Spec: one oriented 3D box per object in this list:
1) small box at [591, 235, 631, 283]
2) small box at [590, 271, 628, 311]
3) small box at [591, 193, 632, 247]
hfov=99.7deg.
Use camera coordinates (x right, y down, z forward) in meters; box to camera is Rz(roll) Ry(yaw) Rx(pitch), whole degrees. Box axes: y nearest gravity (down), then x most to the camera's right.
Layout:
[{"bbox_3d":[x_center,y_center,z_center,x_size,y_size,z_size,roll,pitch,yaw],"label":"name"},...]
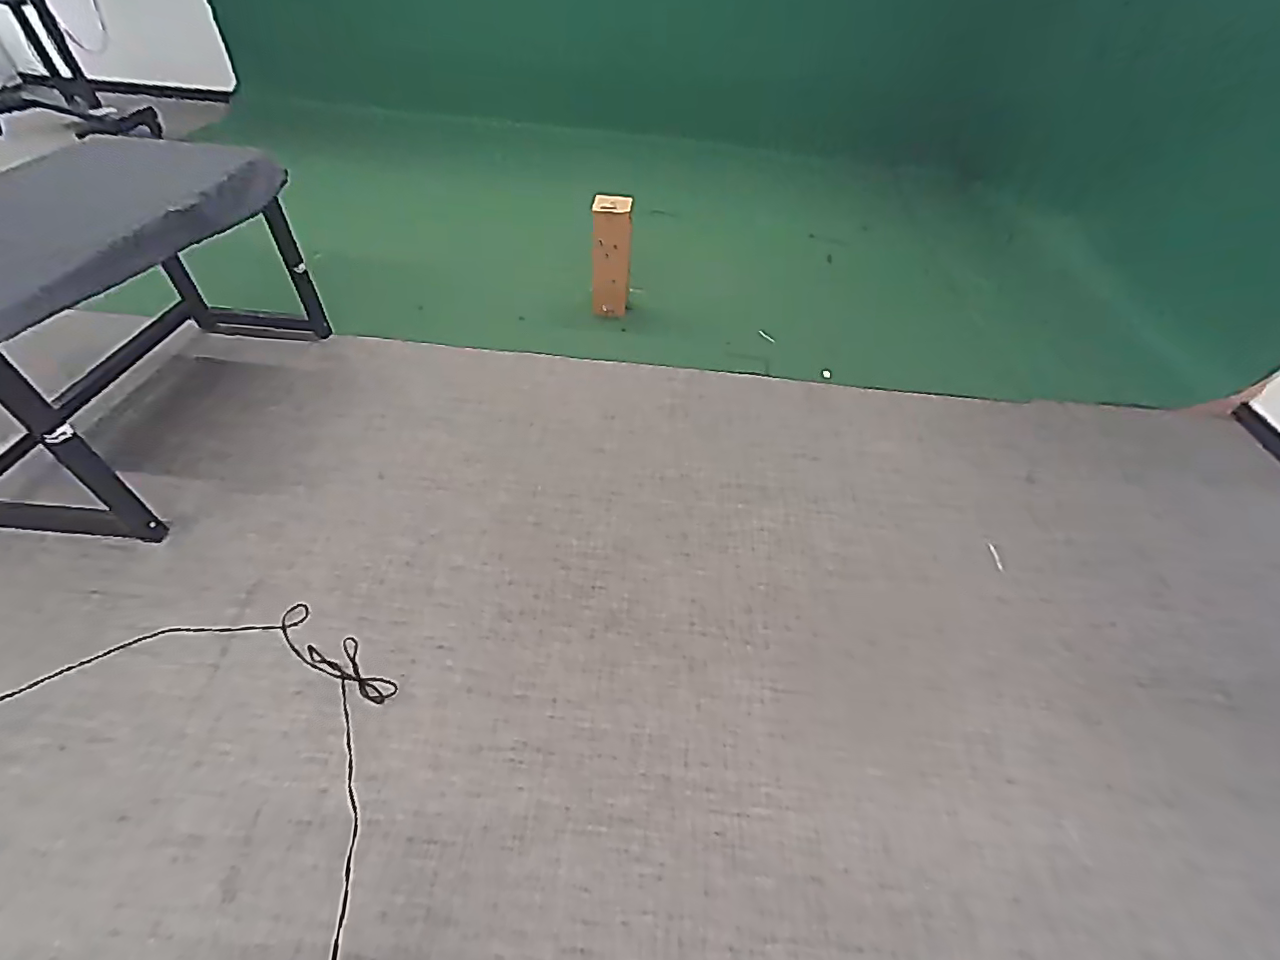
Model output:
[{"bbox_3d":[-0.138,-1.057,2.557,0.168,0.176,0.179,6,47,1],"label":"small box"},{"bbox_3d":[-0.151,-0.958,2.663,0.168,0.176,0.179,6,48,3],"label":"small box"},{"bbox_3d":[-0.127,-1.169,2.436,0.168,0.176,0.179,5,47,0],"label":"small box"}]
